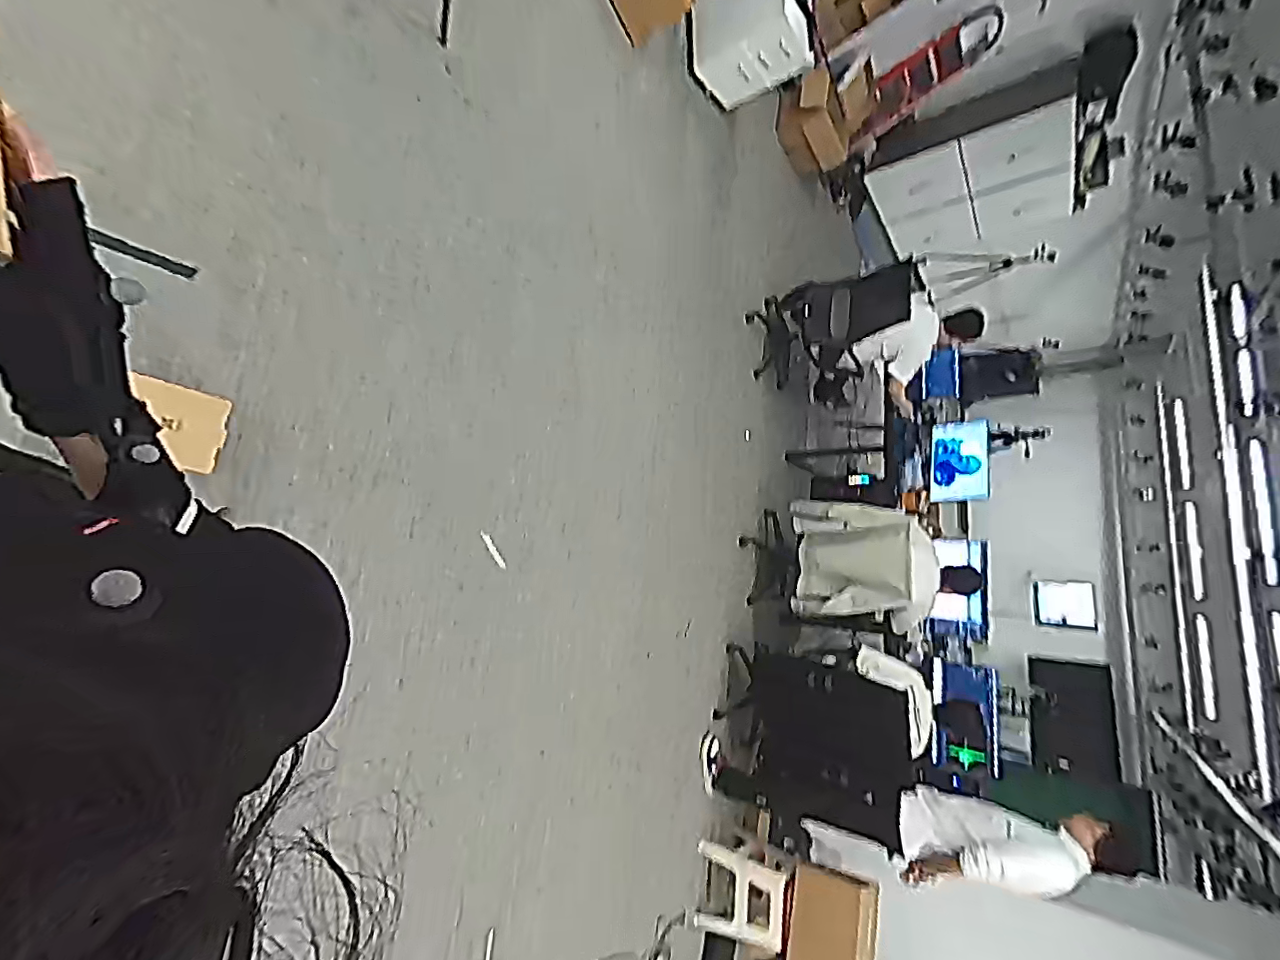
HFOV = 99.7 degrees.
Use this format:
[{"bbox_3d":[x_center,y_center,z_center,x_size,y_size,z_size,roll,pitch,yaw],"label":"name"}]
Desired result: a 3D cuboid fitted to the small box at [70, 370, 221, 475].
[{"bbox_3d":[-1.024,-0.111,1.123,0.179,0.176,0.168,25,69,-51],"label":"small box"}]
